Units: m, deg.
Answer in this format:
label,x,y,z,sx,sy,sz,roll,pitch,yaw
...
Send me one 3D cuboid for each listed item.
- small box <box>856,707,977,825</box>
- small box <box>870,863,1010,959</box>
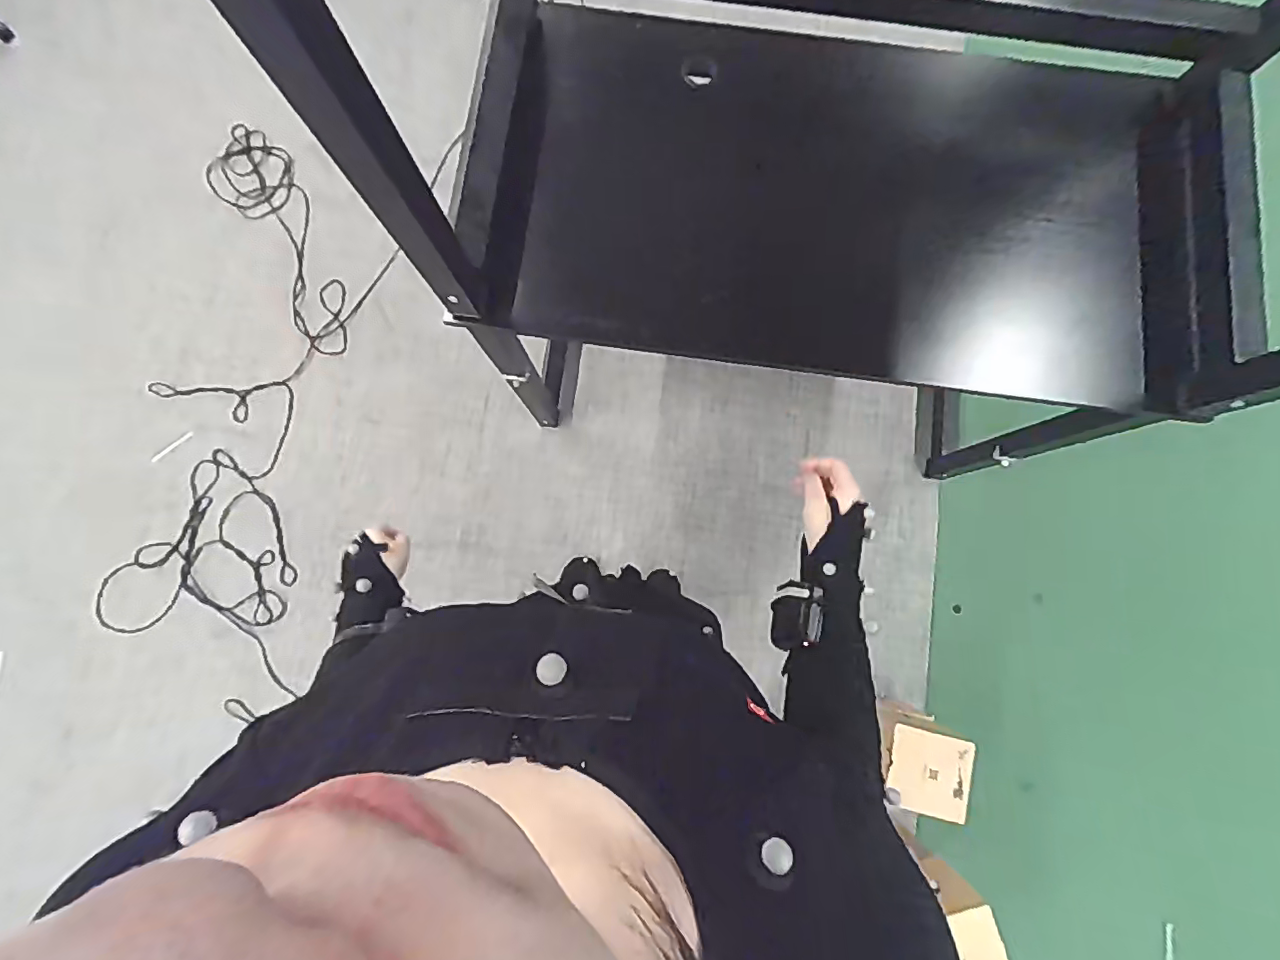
label,x,y,z,sx,sy,sz,roll,pitch,yaw
small box,0.607,0.624,1.206,0.179,0.176,0.168,14,82,2
small box,0.560,0.858,1.011,0.168,0.176,0.179,-16,83,-1
